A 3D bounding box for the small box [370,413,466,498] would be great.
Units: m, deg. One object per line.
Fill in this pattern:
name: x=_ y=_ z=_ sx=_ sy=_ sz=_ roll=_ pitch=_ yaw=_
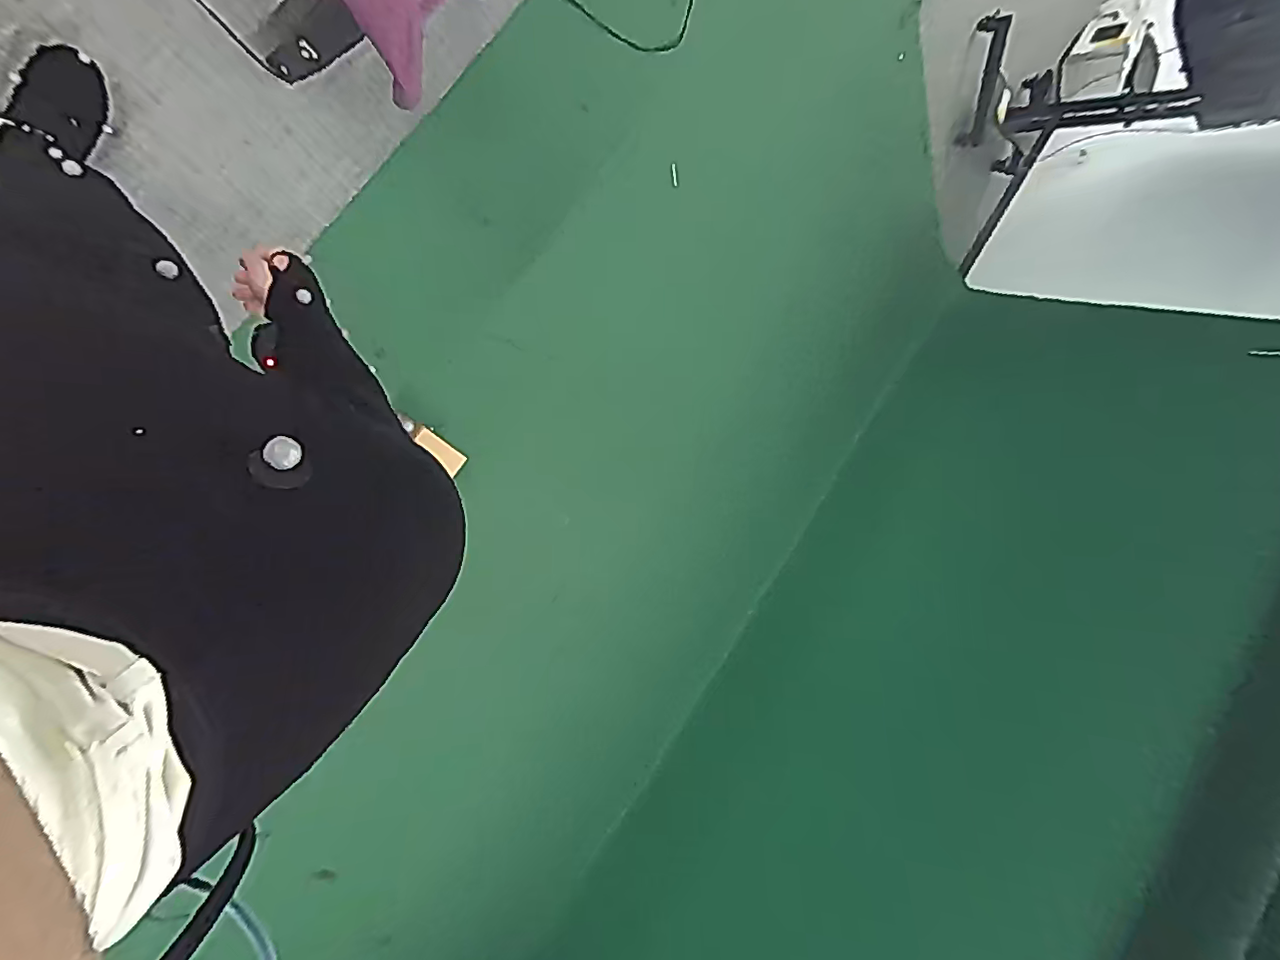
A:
small box: x=-0.665 y=-0.078 z=1.616 sx=0.168 sy=0.176 sz=0.179 roll=-56 pitch=138 yaw=-9
